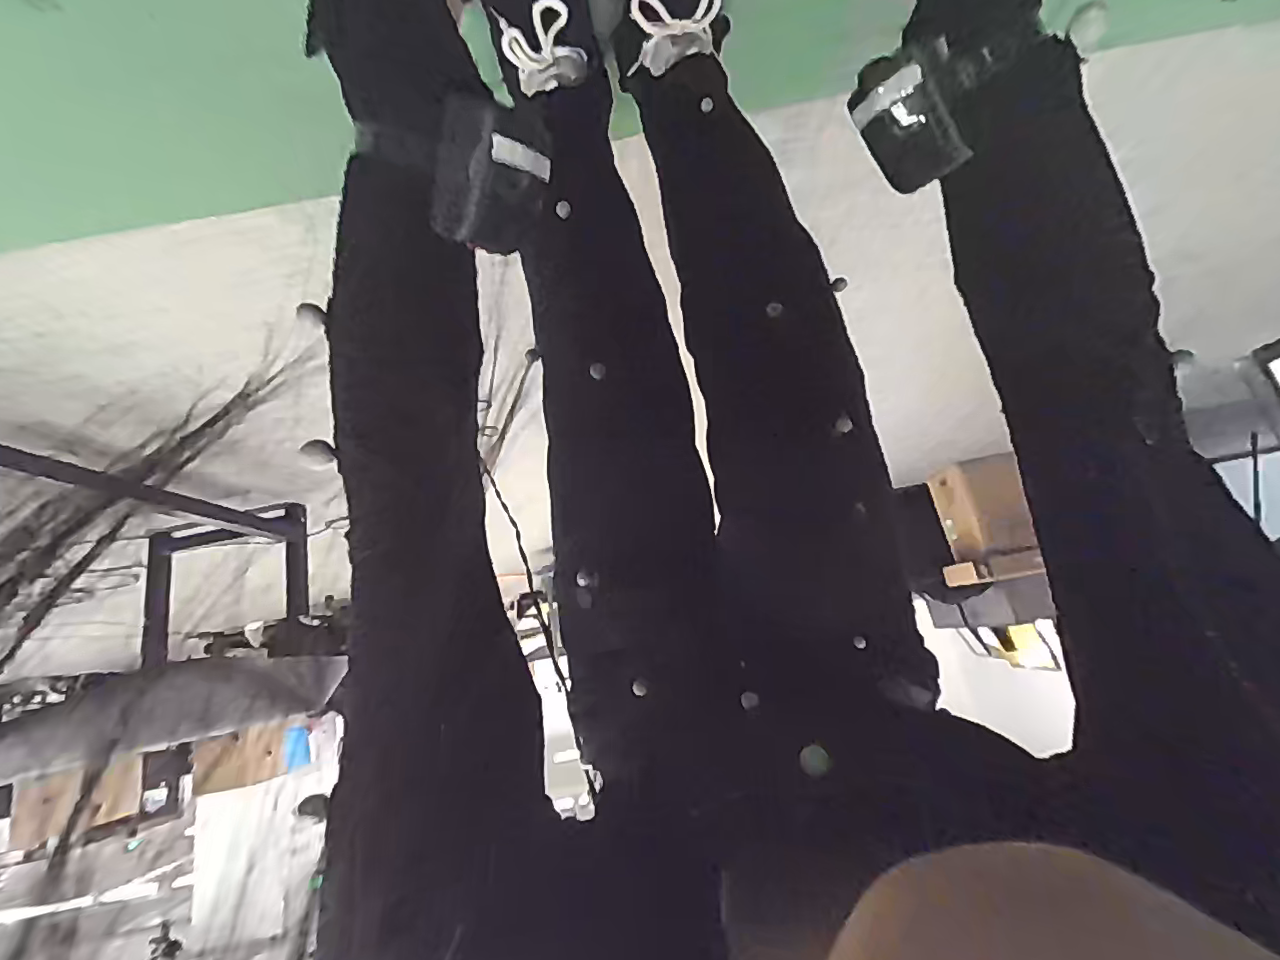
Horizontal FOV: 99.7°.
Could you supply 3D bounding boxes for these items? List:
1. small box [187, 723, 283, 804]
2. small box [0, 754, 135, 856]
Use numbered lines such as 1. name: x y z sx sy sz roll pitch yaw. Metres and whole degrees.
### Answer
1. small box: -1.220 0.850 1.637 0.168 0.176 0.179 -11 164 0
2. small box: -1.465 0.827 1.394 0.168 0.176 0.179 -12 163 -2
